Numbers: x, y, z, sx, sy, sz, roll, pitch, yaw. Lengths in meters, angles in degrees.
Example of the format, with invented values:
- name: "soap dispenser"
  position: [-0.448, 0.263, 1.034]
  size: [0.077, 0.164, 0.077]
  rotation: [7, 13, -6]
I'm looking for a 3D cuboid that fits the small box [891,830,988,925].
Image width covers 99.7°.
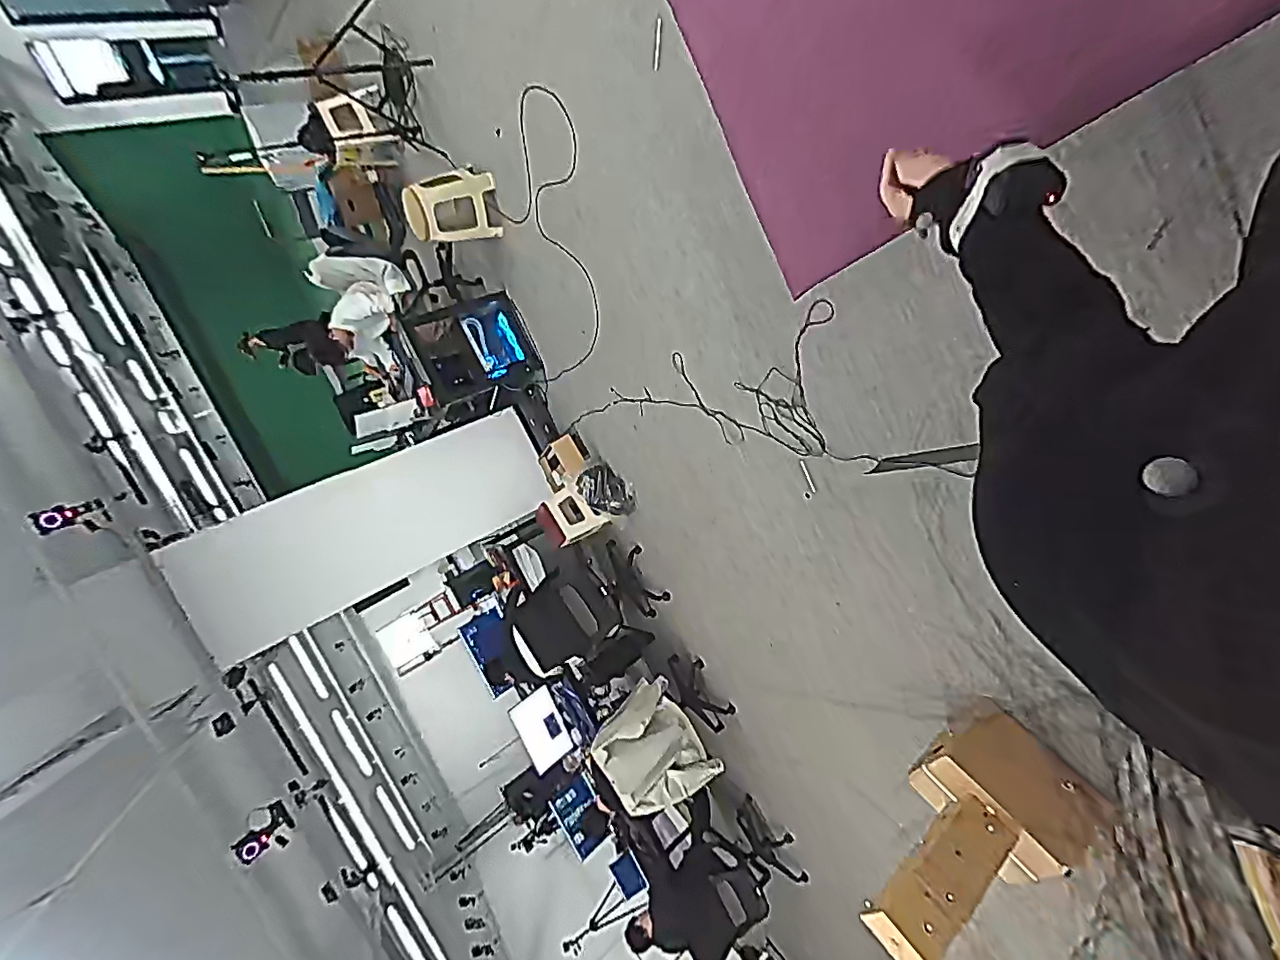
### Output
- name: "small box"
  position: [0.919, 1.217, 1.658]
  size: [0.168, 0.176, 0.179]
  rotation: [45, 149, 29]

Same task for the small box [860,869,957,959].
- name: "small box"
  position: [0.789, 1.282, 1.584]
  size: [0.168, 0.176, 0.179]
  rotation: [45, 149, 30]

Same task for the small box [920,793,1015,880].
- name: "small box"
  position: [1.048, 1.146, 1.729]
  size: [0.168, 0.176, 0.179]
  rotation: [45, 148, 30]
